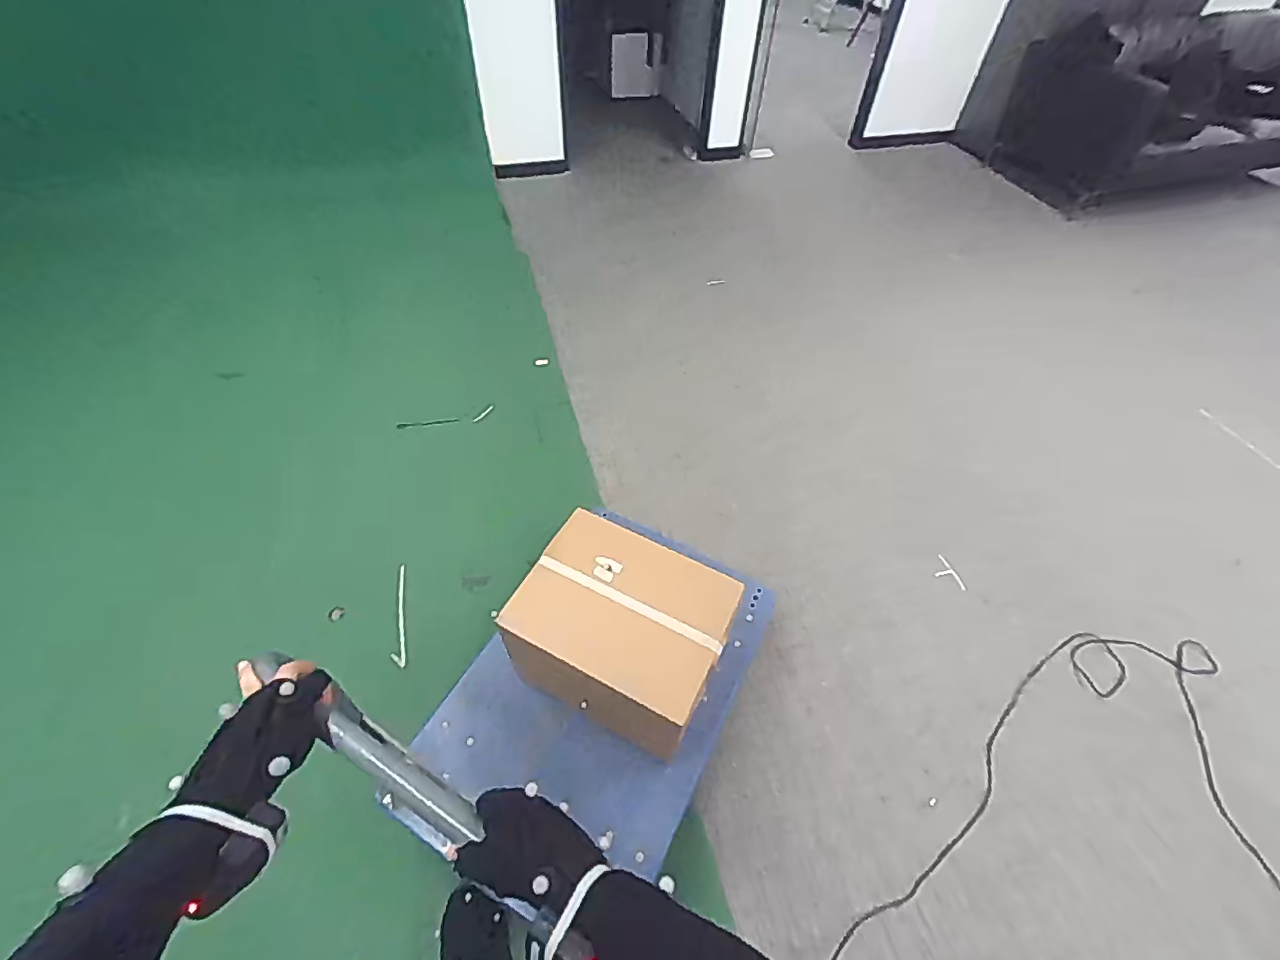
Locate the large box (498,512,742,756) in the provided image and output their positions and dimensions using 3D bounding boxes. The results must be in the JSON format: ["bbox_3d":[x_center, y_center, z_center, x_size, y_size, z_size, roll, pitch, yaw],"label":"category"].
[{"bbox_3d":[-0.034,0.340,1.195,0.408,0.320,0.320,23,54,16],"label":"large box"}]
